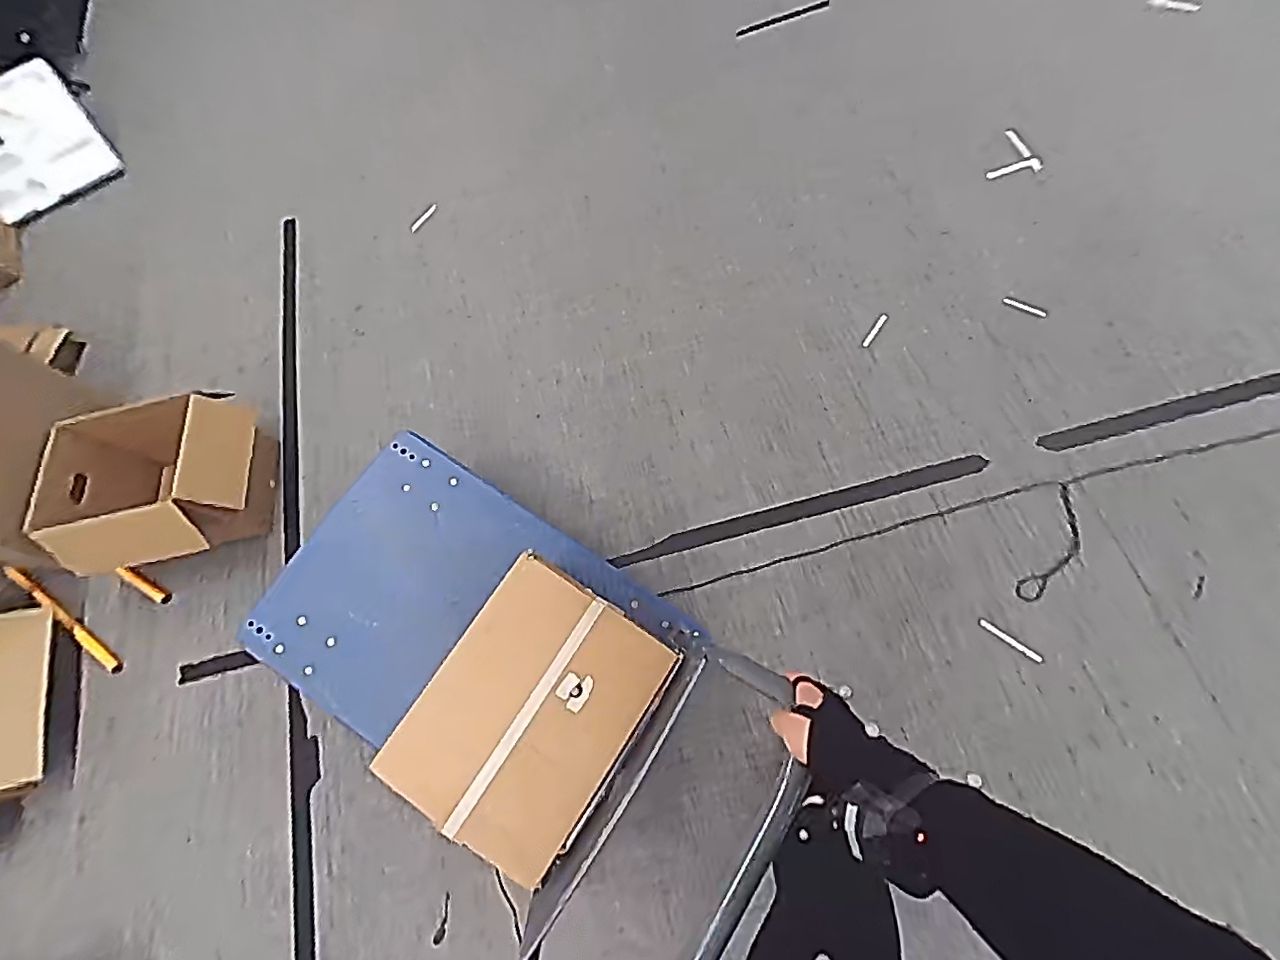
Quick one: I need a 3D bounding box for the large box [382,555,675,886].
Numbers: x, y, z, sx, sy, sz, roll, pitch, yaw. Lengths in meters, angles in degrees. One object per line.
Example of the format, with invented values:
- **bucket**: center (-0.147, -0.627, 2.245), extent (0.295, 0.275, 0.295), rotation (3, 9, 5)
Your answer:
- **large box**: center (-0.176, 0.406, 1.007), extent (0.320, 0.320, 0.408), rotation (33, 77, 5)
